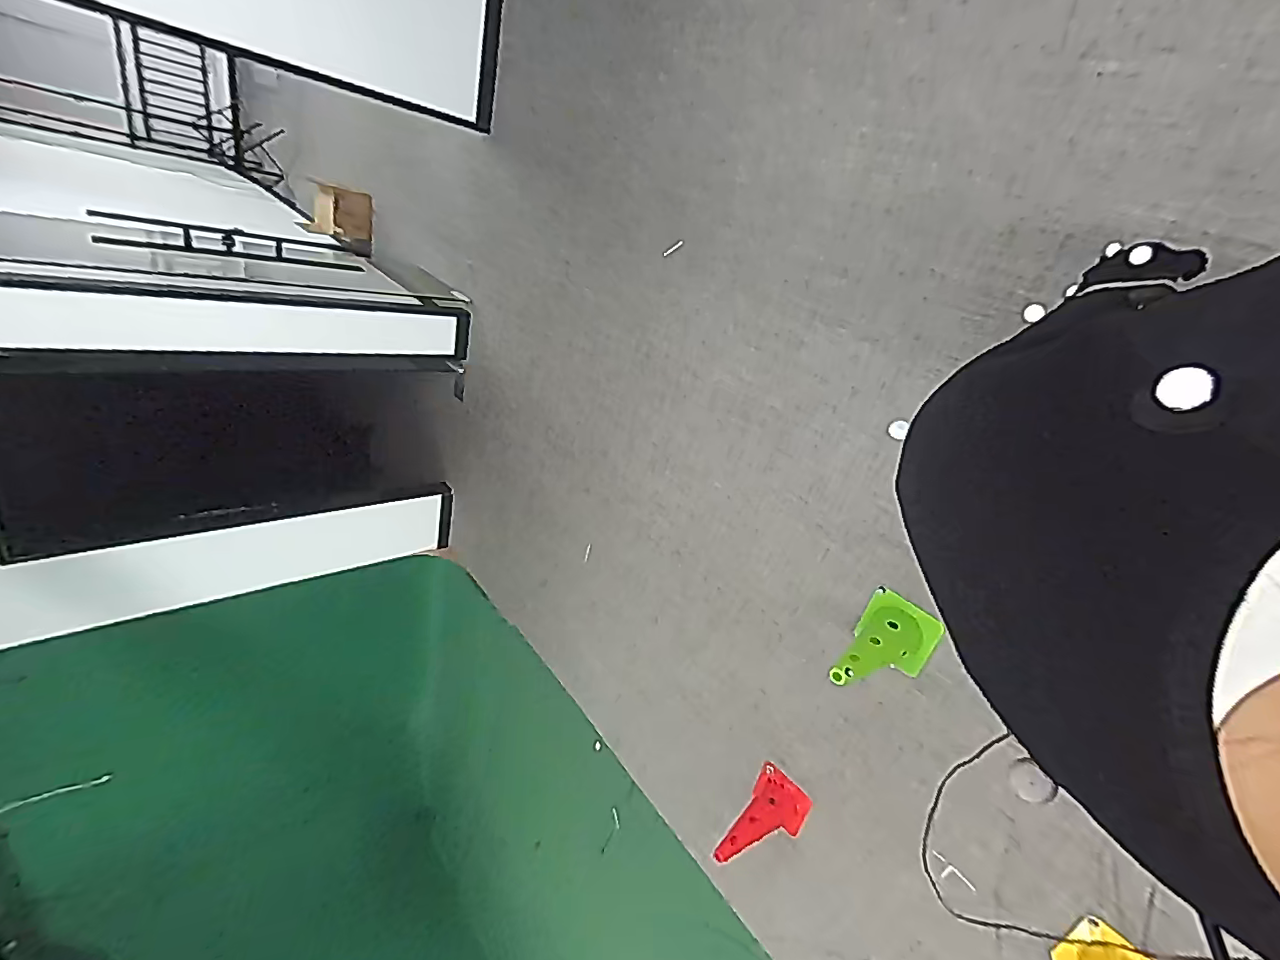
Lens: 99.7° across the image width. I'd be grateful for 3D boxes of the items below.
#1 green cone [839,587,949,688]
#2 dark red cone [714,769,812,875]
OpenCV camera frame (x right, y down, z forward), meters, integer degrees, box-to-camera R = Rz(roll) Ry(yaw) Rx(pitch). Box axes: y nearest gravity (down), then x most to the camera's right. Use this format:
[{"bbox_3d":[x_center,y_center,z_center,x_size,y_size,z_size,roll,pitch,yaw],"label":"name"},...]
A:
[{"bbox_3d":[0.624,0.458,1.430,0.202,0.368,0.200,35,123,37],"label":"green cone"},{"bbox_3d":[0.385,1.177,1.810,0.202,0.394,0.201,32,121,40],"label":"dark red cone"}]
